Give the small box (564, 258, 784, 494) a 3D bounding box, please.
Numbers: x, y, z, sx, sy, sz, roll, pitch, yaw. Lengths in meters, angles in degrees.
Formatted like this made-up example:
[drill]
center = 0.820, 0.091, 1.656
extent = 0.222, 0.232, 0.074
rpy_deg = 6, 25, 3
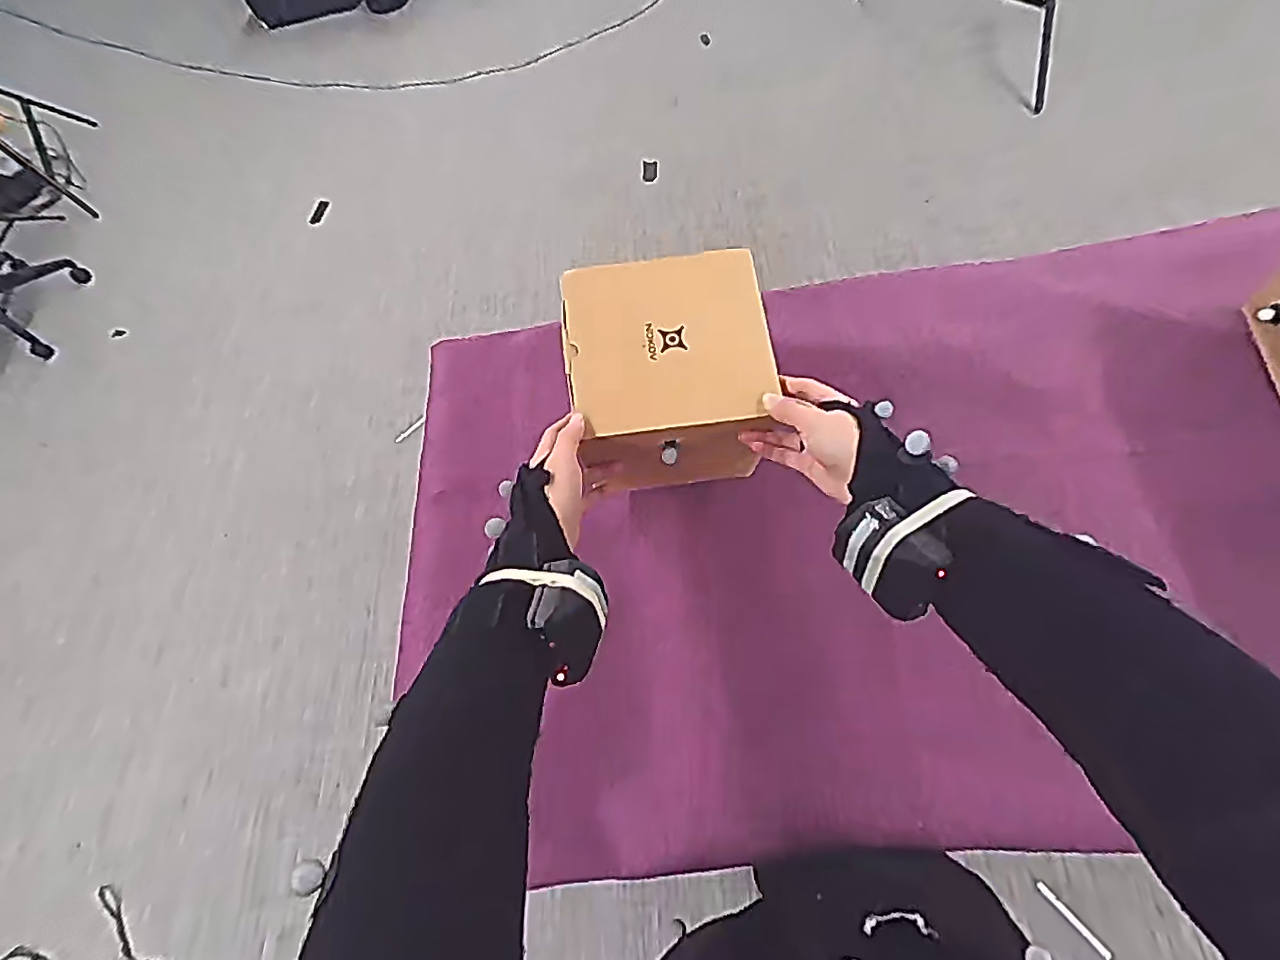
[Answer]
[small box]
center = 0.027, -0.092, 0.543
extent = 0.179, 0.176, 0.168
rpy_deg = -7, 72, 0
